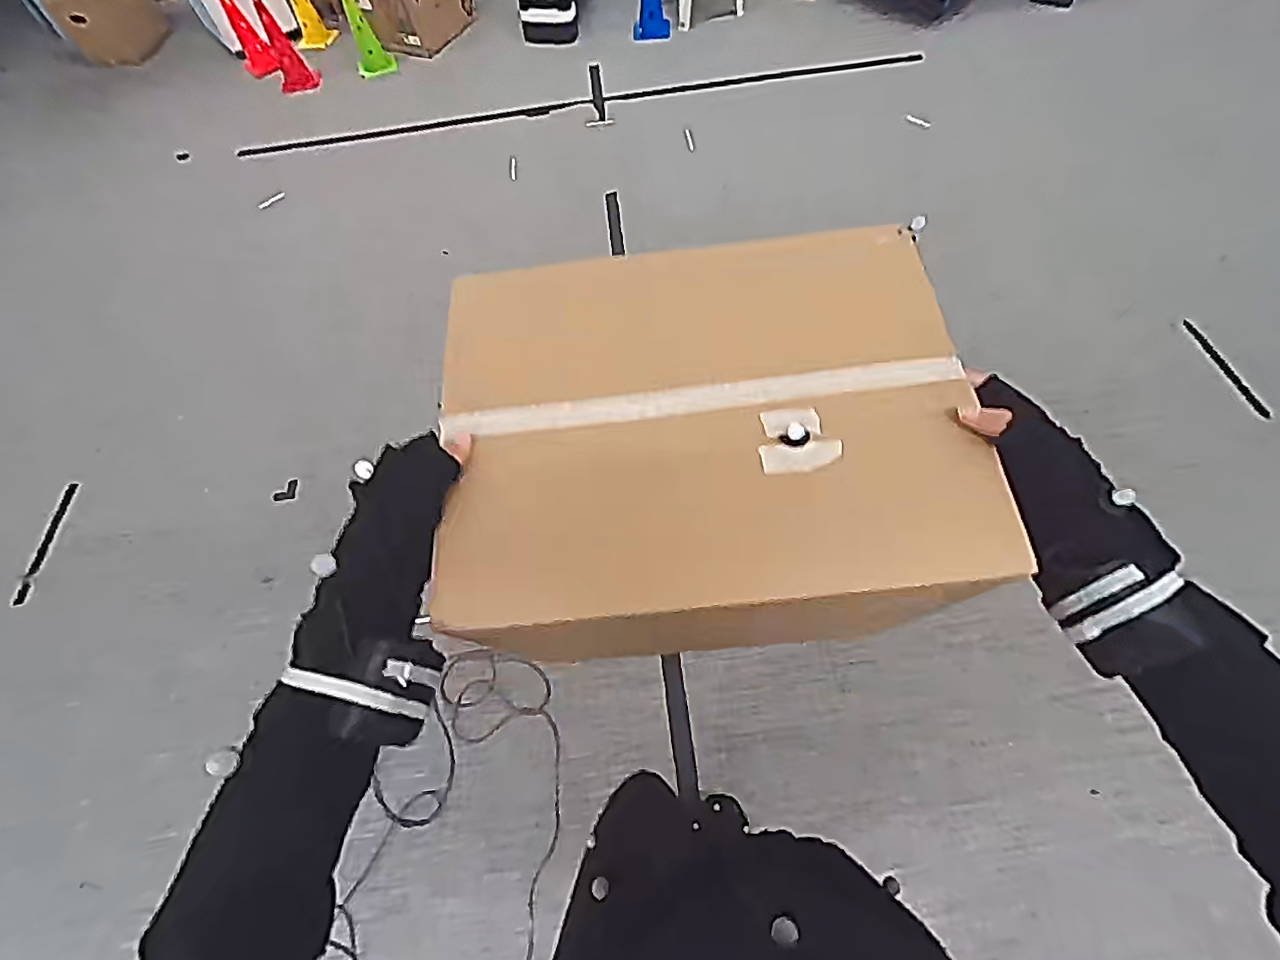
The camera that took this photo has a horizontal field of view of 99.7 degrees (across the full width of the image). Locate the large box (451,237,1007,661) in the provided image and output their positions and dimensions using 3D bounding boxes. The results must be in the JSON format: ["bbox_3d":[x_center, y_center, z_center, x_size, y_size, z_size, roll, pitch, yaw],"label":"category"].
[{"bbox_3d":[0.055,-0.001,0.574,0.408,0.320,0.320,-6,67,2],"label":"large box"}]
